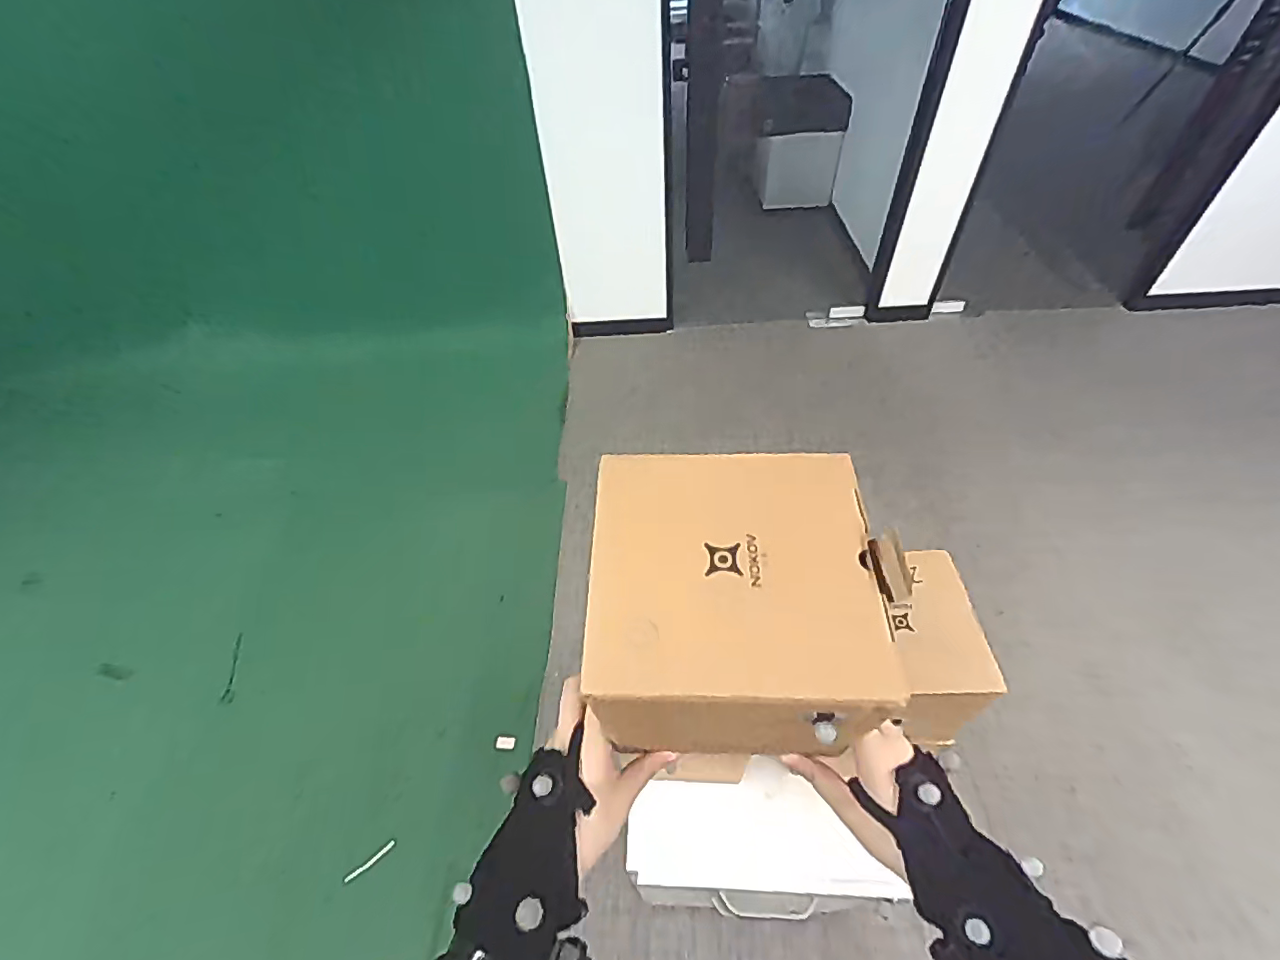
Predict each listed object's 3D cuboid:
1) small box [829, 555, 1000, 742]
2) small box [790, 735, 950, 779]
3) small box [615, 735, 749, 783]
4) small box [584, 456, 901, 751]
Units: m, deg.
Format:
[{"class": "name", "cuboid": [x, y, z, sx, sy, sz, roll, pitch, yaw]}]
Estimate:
[{"class": "small box", "cuboid": [0.294, 0.212, 0.669, 0.168, 0.176, 0.179, -2, 48, 3]}, {"class": "small box", "cuboid": [0.309, 0.324, 0.788, 0.179, 0.176, 0.168, 0, 49, 4]}, {"class": "small box", "cuboid": [0.062, 0.334, 0.796, 0.179, 0.176, 0.168, 1, 49, 3]}, {"class": "small box", "cuboid": [0.062, 0.098, 0.405, 0.179, 0.176, 0.168, 0, 54, 3]}]
